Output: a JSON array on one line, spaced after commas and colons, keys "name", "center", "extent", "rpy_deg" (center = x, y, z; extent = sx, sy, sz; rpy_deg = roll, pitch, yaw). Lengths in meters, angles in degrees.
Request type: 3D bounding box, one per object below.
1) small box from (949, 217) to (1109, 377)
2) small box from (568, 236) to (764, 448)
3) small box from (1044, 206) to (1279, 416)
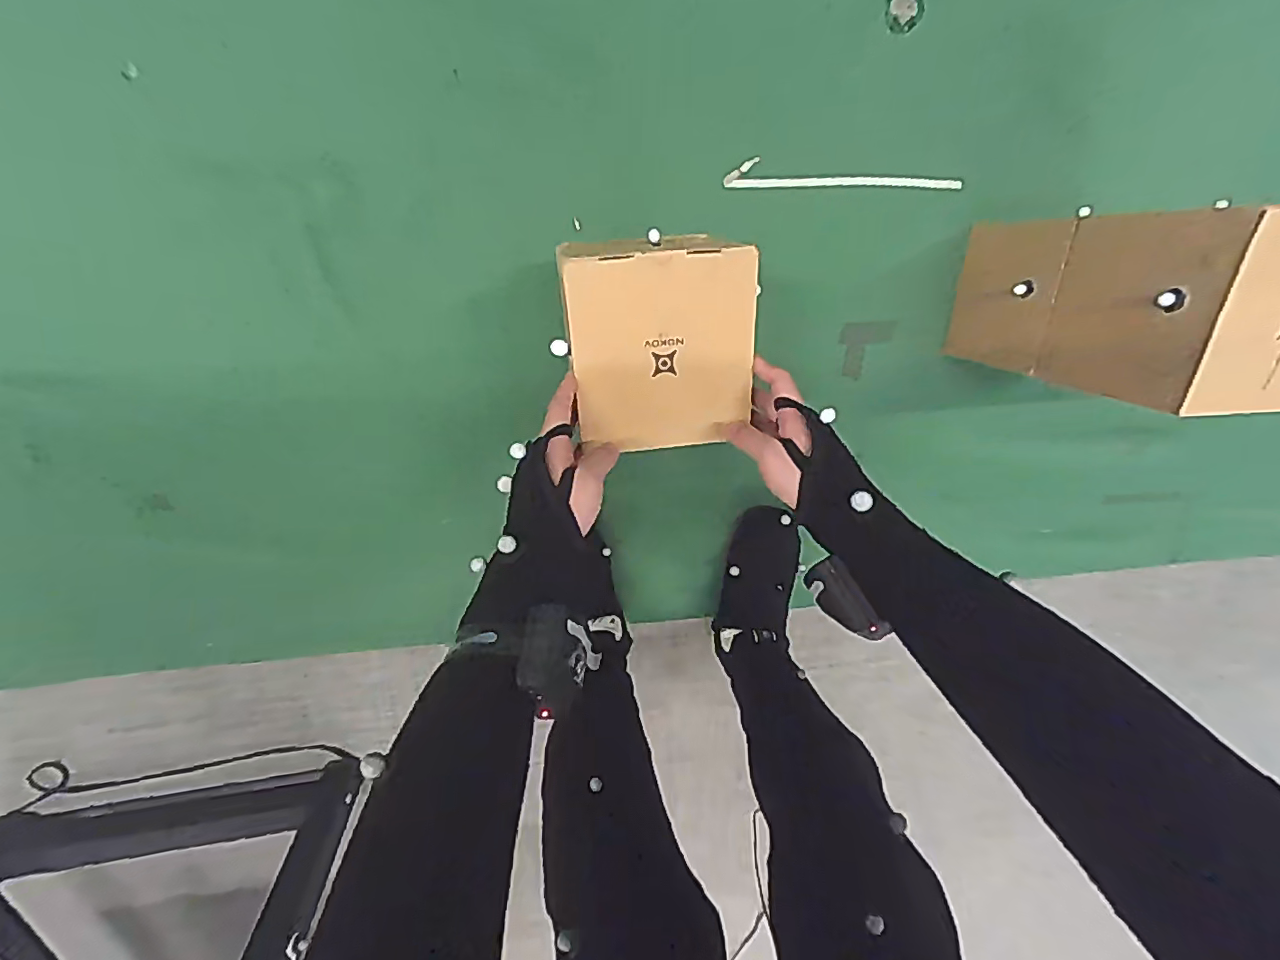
[{"name": "small box", "center": [0.539, -0.236, 0.700], "extent": [0.168, 0.176, 0.179], "rpy_deg": [-2, 113, -8]}, {"name": "small box", "center": [0.016, -0.149, 0.554], "extent": [0.168, 0.176, 0.179], "rpy_deg": [-6, 116, -6]}, {"name": "small box", "center": [0.564, -0.173, 0.550], "extent": [0.168, 0.176, 0.179], "rpy_deg": [-3, 113, -8]}]
